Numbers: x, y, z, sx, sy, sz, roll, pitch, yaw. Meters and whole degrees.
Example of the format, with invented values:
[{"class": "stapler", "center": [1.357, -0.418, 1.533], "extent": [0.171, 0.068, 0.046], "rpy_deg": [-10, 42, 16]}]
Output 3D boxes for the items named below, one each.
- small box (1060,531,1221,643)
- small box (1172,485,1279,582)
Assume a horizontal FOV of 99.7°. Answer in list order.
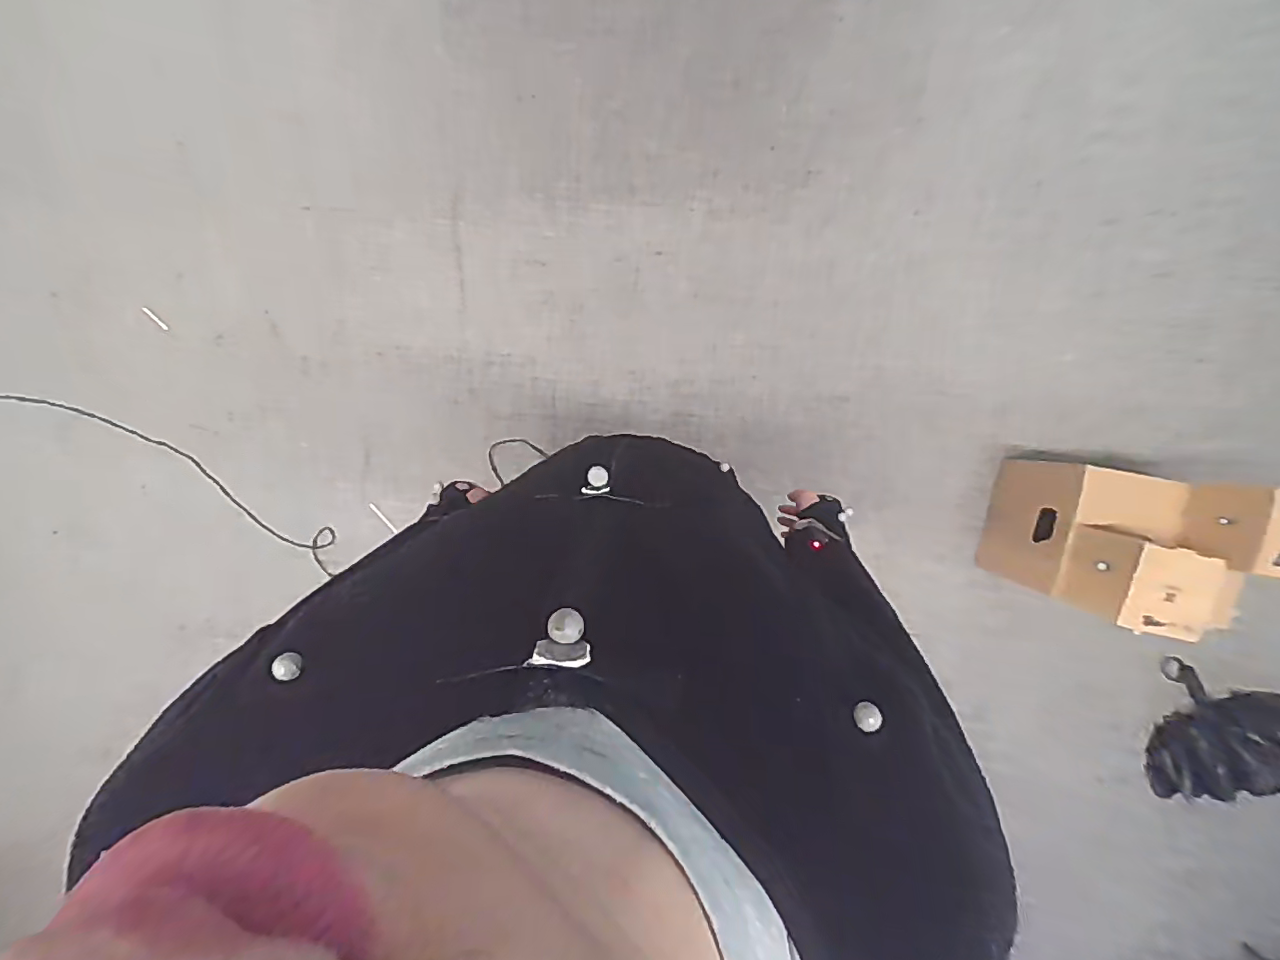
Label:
[{"class": "small box", "center": [1.040, 0.216, 1.142], "extent": [0.168, 0.176, 0.179], "rpy_deg": [12, 96, 0]}, {"class": "small box", "center": [1.282, 0.113, 1.130], "extent": [0.168, 0.176, 0.179], "rpy_deg": [12, 91, 0]}]
